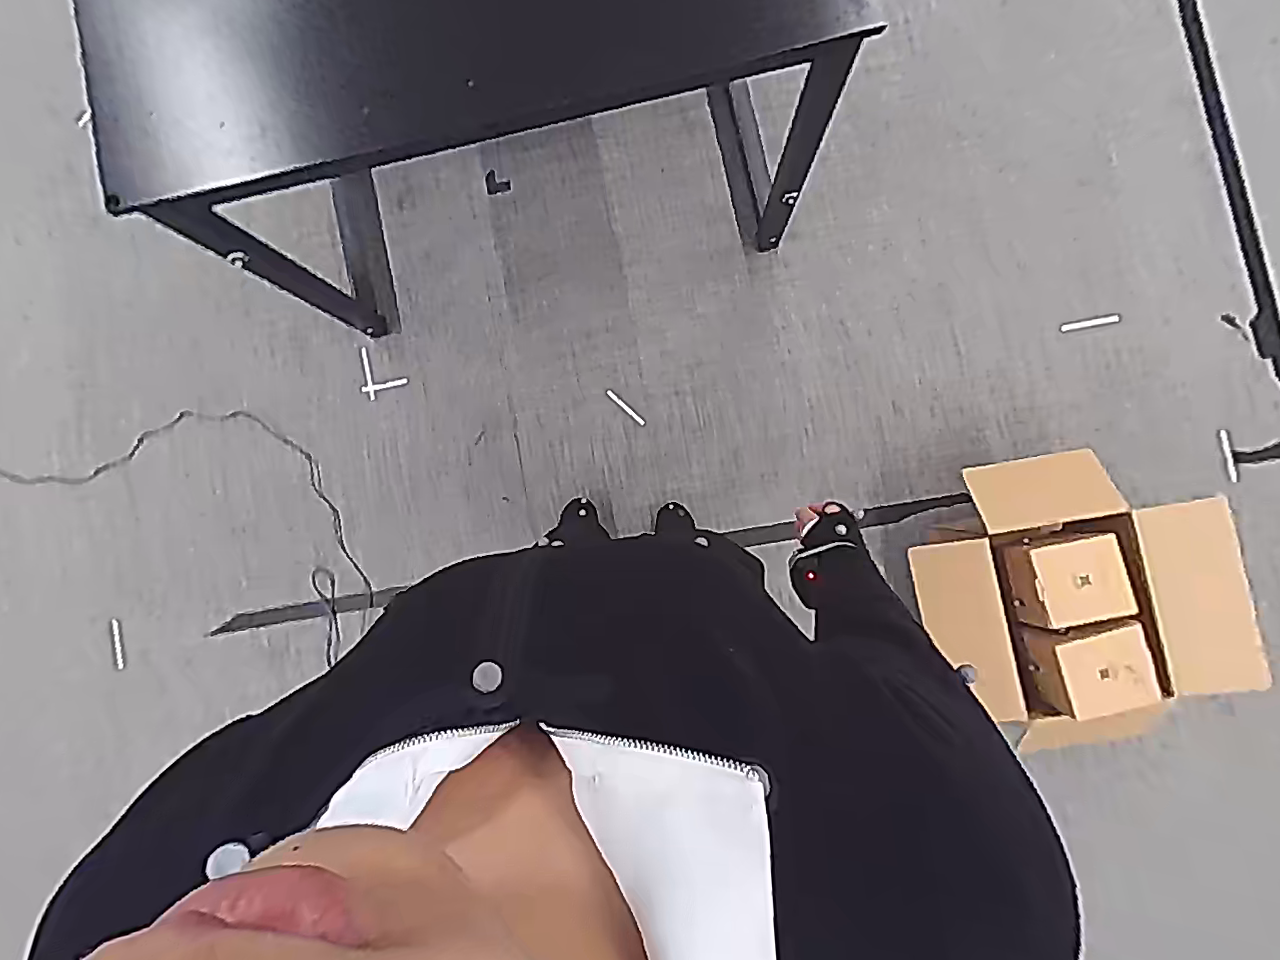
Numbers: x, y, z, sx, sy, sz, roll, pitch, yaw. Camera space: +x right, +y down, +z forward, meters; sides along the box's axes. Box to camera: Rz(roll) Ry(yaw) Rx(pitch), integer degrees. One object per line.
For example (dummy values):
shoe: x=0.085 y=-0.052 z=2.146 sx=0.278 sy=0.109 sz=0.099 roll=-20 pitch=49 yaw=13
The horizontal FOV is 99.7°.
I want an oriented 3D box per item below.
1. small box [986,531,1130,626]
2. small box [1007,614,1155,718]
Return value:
small box: x=0.899 y=0.211 z=1.186 sx=0.179 sy=0.176 sz=0.168 roll=-13 pitch=85 yaw=1
small box: x=0.942 y=0.385 z=1.177 sx=0.179 sy=0.176 sz=0.168 roll=-17 pitch=91 yaw=3
